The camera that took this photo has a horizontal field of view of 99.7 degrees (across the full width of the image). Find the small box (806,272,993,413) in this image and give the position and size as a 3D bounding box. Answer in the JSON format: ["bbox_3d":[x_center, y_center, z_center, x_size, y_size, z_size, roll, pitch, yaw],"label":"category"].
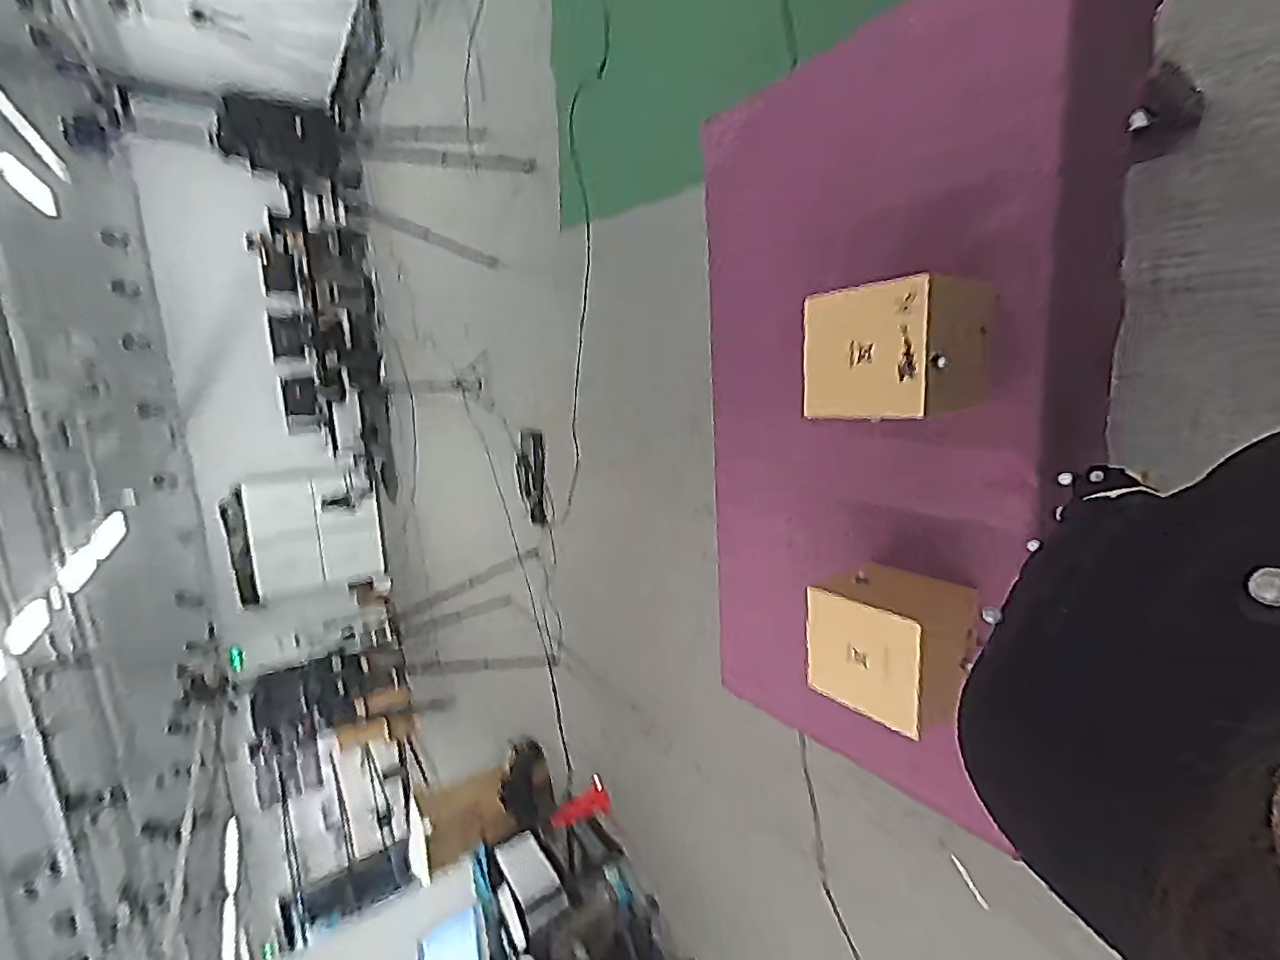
[{"bbox_3d":[0.354,-0.182,0.751,0.179,0.176,0.168,10,108,55],"label":"small box"}]

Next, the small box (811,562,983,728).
[{"bbox_3d":[0.383,0.232,0.819,0.179,0.176,0.168,11,108,53],"label":"small box"}]
